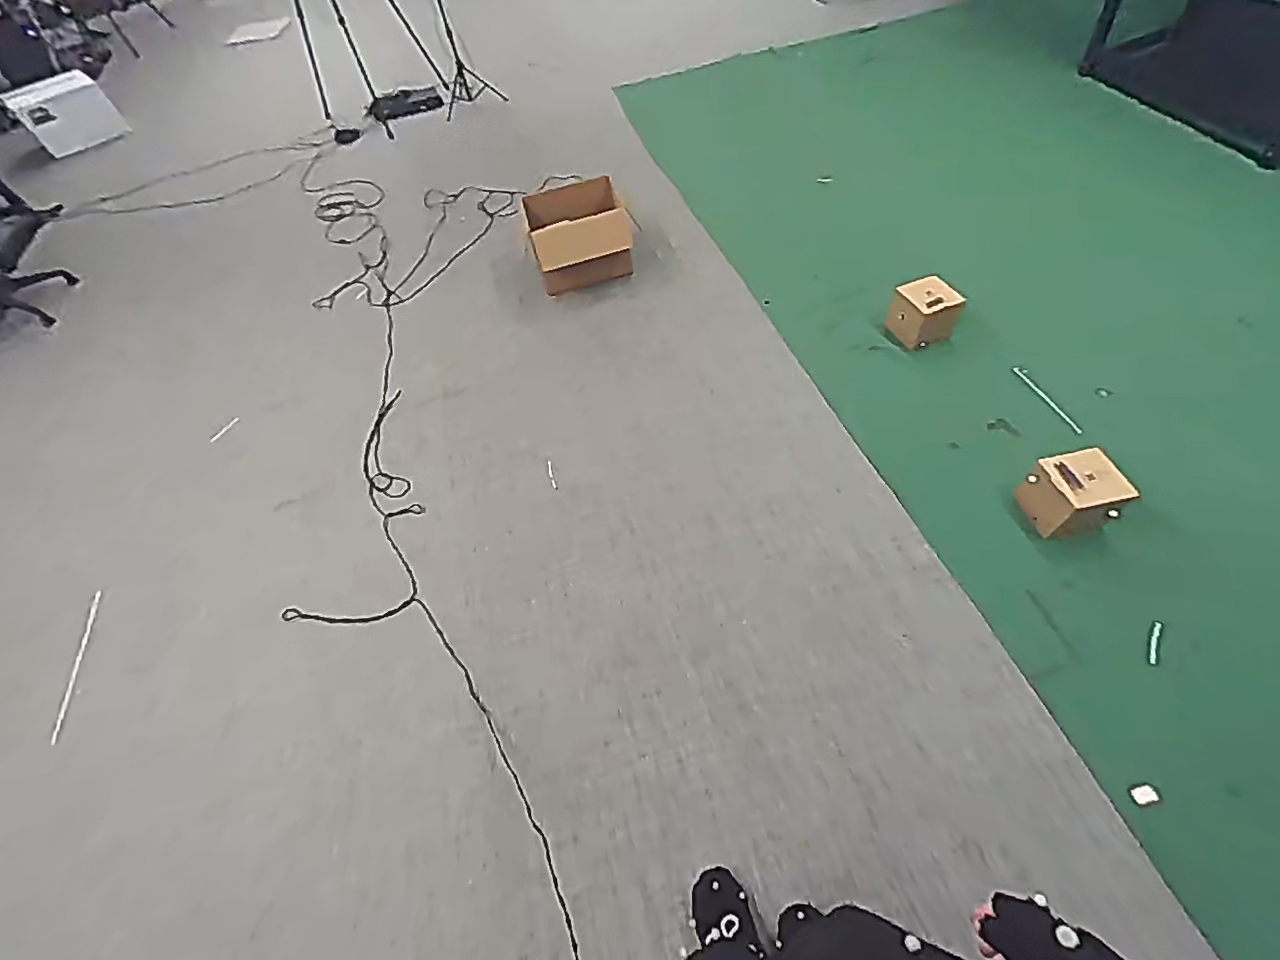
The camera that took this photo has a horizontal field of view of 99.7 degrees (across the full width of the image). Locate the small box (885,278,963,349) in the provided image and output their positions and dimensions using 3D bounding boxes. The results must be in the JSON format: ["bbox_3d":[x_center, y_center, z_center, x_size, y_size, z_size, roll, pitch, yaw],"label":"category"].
[{"bbox_3d":[1.033,-0.604,1.981,0.168,0.176,0.179,-19,53,-6],"label":"small box"}]
